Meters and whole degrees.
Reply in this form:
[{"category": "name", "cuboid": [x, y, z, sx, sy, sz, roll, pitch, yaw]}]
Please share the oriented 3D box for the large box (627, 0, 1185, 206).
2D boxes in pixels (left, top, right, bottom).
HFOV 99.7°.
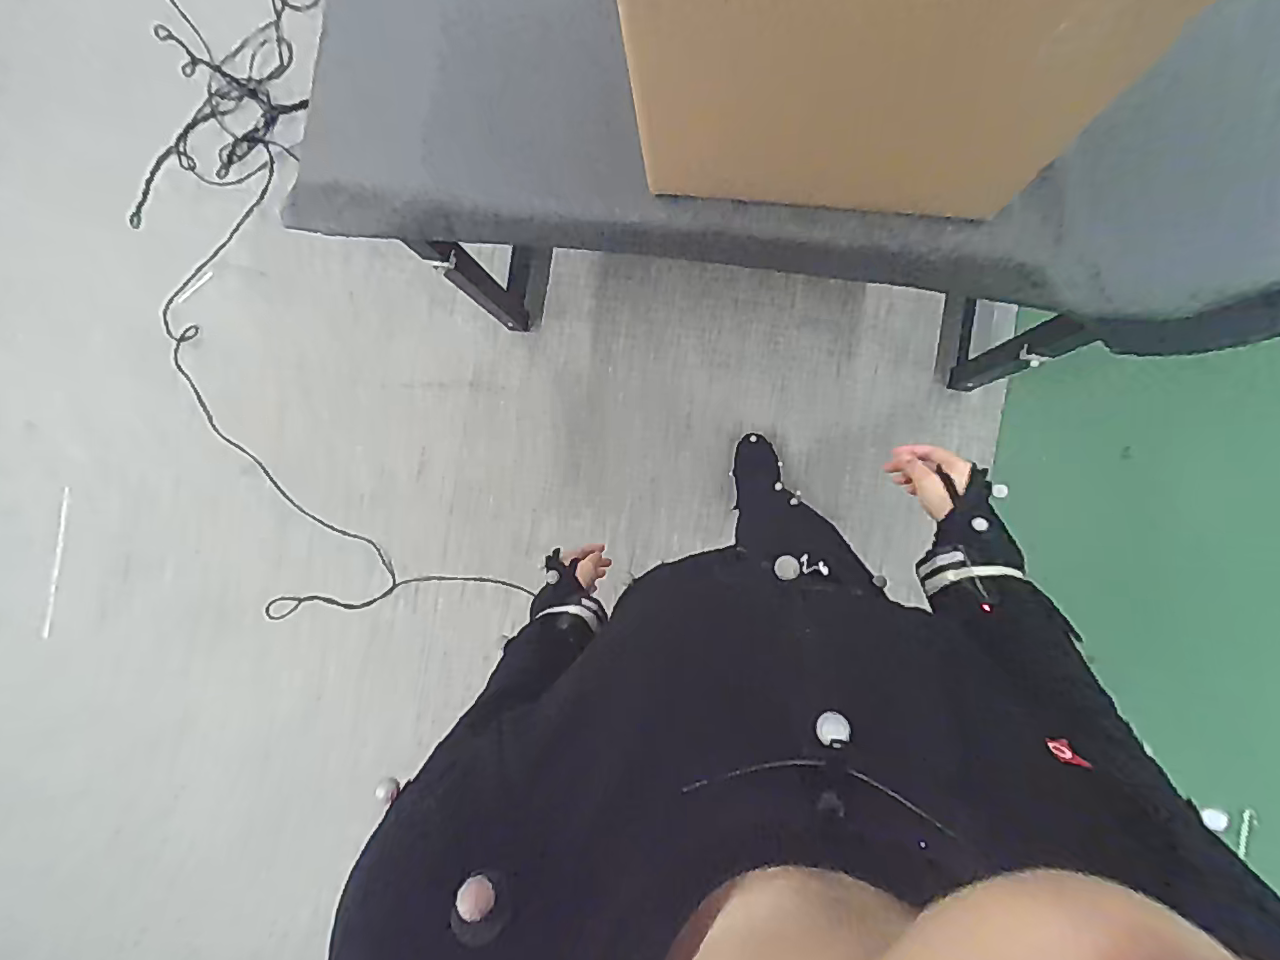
[{"category": "large box", "cuboid": [0.209, -0.494, 0.505, 0.408, 0.320, 0.320, 7, 89, 5]}]
